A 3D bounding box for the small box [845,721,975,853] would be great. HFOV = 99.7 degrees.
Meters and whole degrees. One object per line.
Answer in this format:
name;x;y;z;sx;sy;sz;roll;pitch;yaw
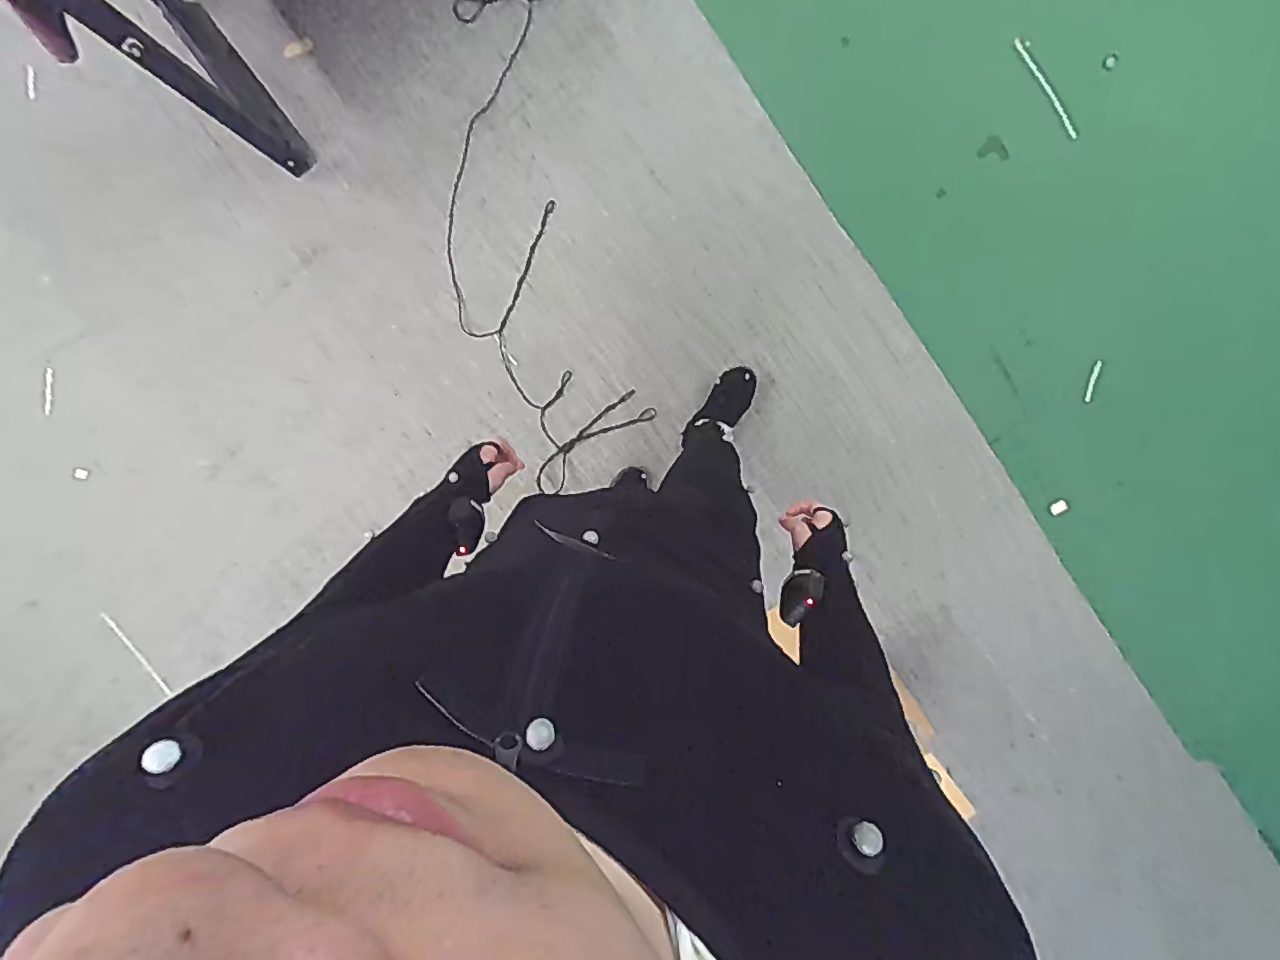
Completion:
small box;0.605;0.687;1.240;0.168;0.176;0.179;-38;94;4
